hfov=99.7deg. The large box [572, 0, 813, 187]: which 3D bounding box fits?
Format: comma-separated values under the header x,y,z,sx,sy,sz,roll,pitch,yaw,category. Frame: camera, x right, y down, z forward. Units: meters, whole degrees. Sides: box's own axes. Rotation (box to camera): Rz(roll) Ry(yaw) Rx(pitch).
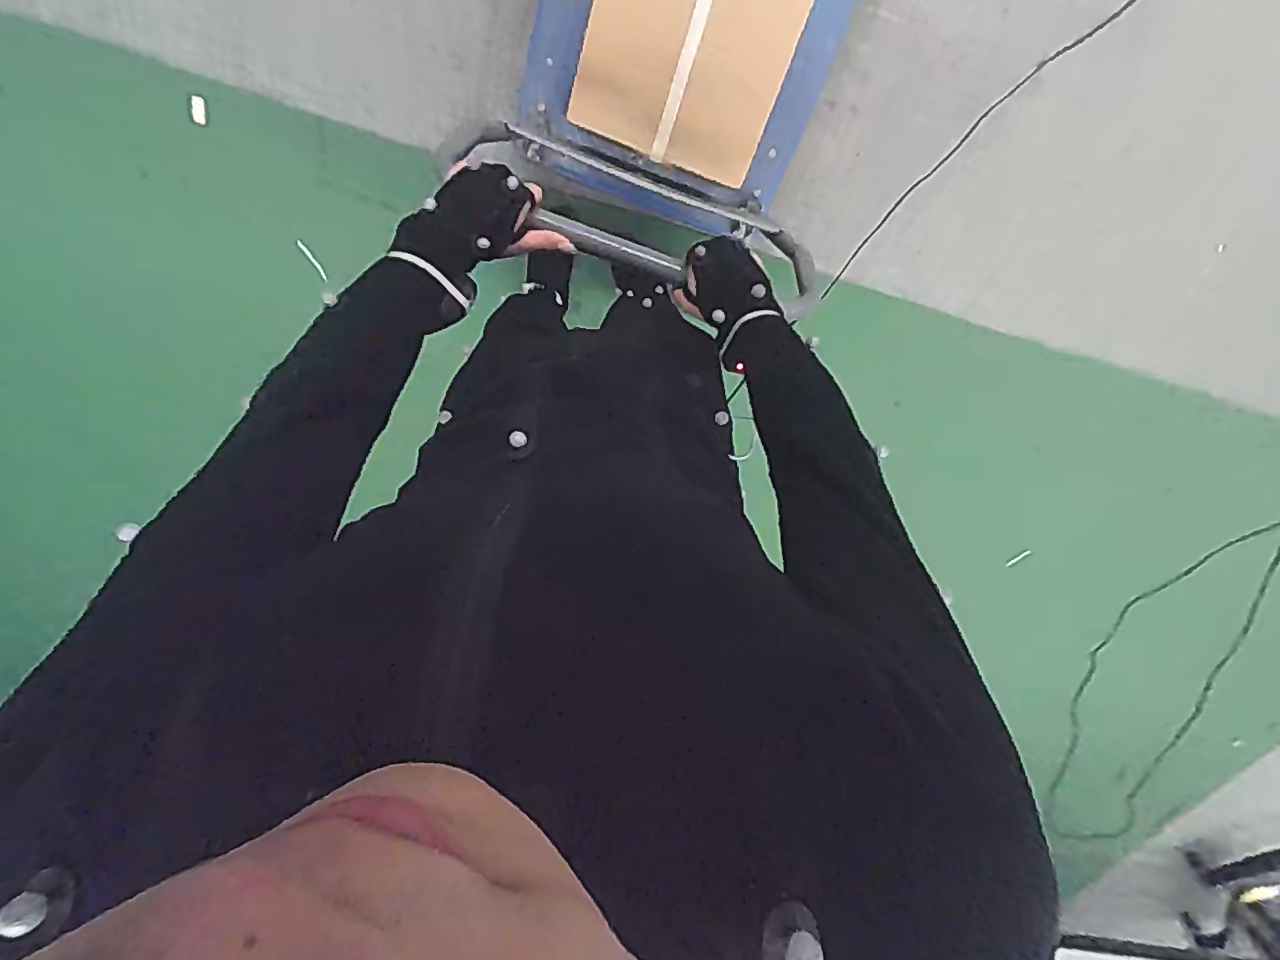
x,y,z,sx,sy,sz,roll,pitch,yaw,category
0.093,-0.775,0.944,0.320,0.320,0.408,17,117,-9,large box
